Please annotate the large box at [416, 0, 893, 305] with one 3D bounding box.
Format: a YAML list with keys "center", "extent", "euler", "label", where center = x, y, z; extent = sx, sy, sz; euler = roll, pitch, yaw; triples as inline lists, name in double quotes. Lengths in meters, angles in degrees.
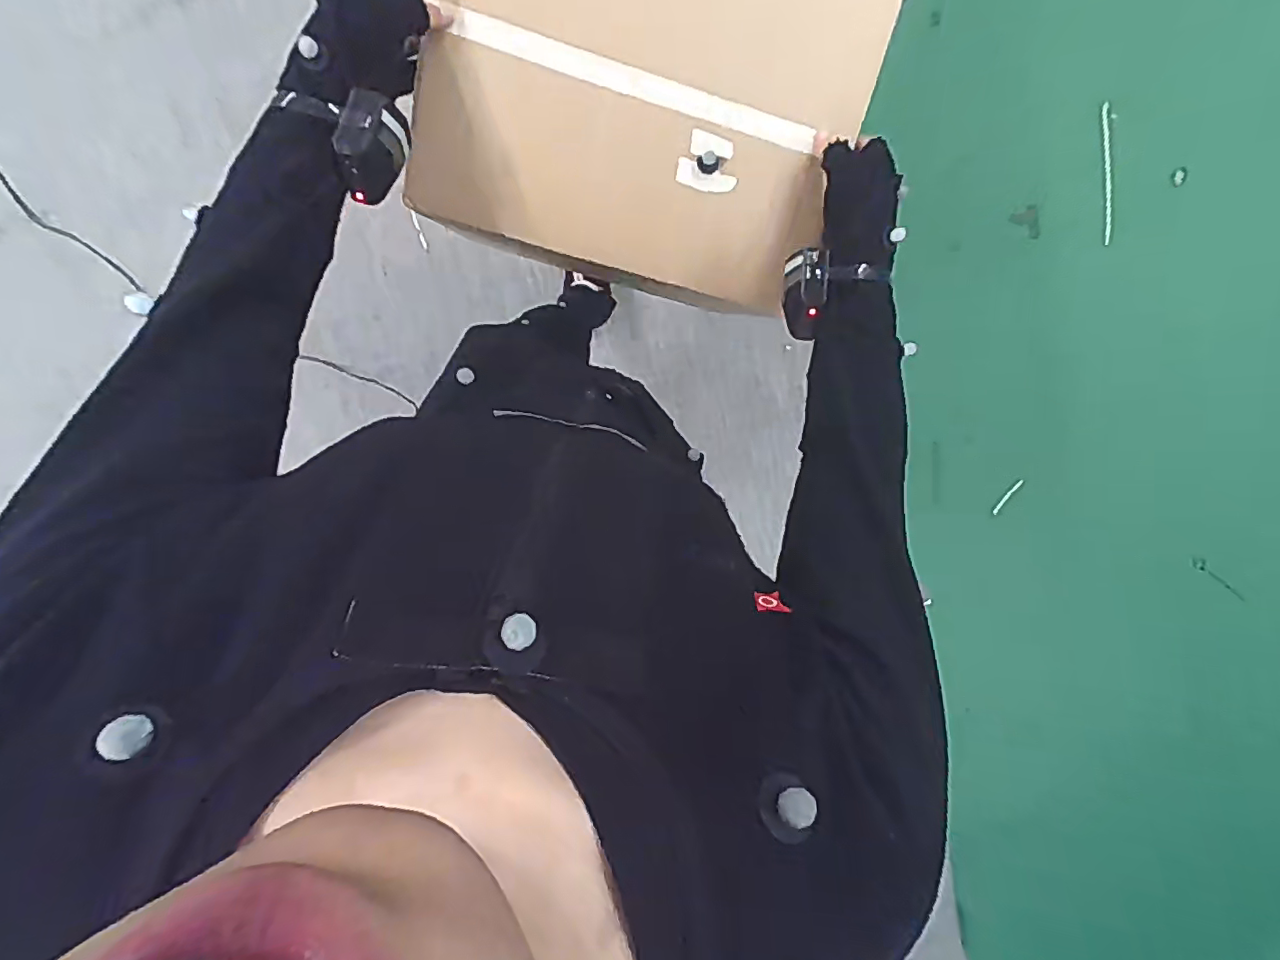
- center: [-0.004, -0.412, 0.639]
  extent: [0.408, 0.320, 0.320]
  euler: [12, 106, -11]
  label: "large box"
